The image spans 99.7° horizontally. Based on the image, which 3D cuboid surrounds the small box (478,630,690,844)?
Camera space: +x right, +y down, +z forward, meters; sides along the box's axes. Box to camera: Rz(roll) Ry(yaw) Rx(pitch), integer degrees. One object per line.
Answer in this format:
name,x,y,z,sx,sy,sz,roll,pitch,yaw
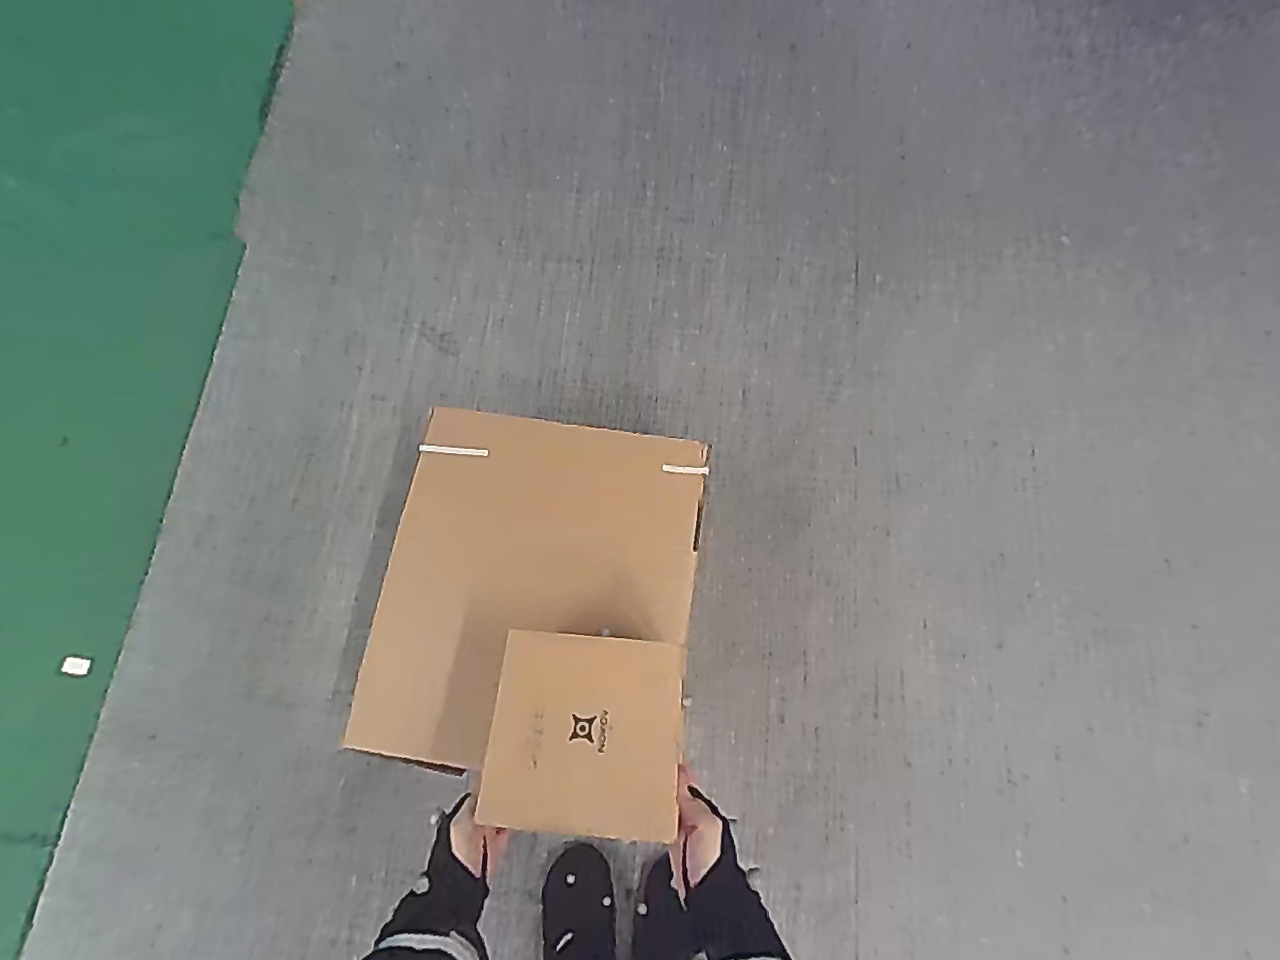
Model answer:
small box,-0.047,0.261,0.563,0.179,0.176,0.168,5,63,1
